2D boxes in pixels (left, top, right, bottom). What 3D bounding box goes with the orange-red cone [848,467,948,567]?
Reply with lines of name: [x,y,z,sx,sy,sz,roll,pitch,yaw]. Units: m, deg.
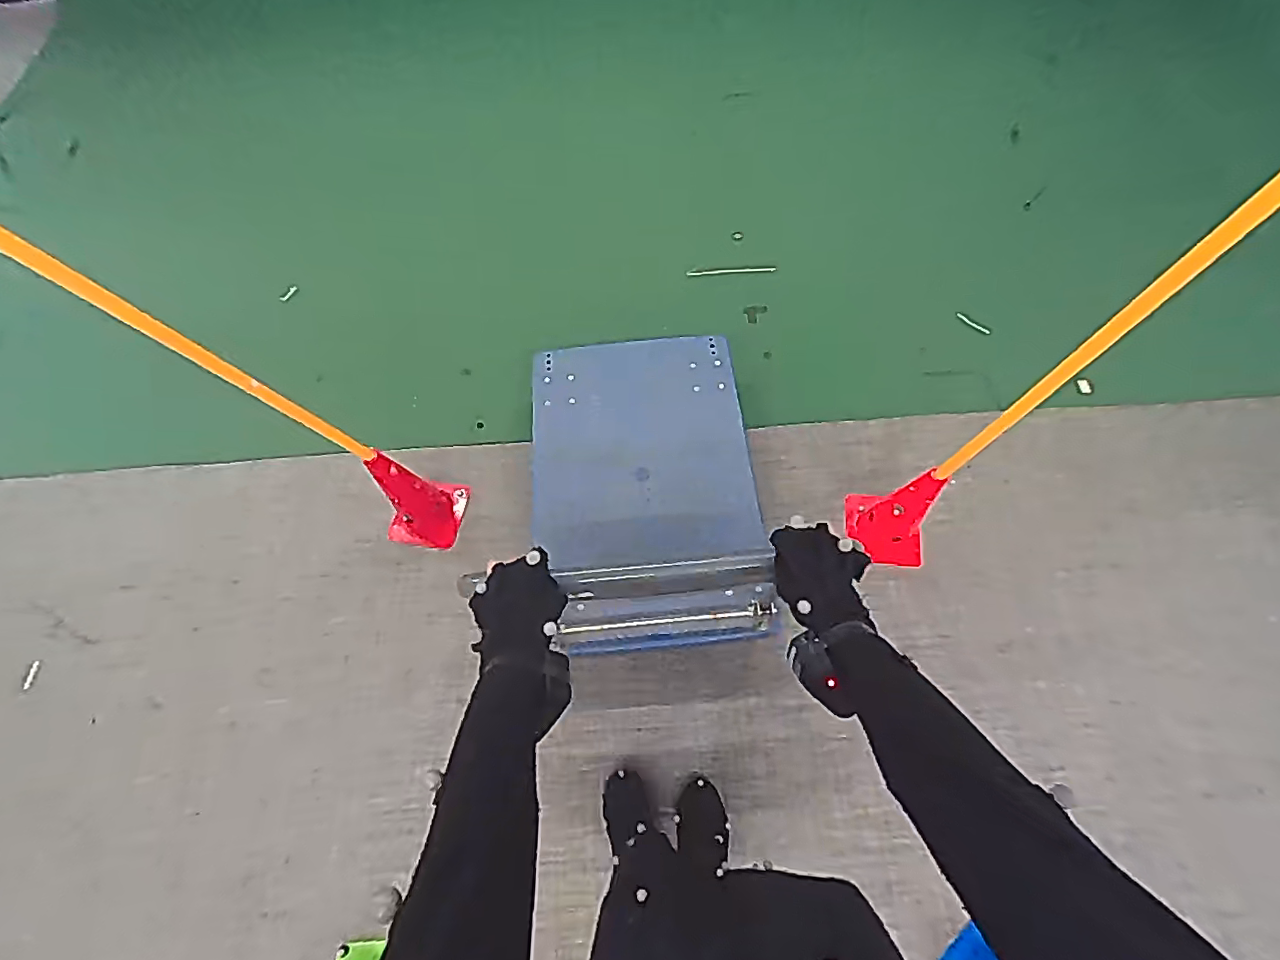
orange-red cone: [0.664,0.064,1.335,0.198,0.360,0.199,6,66,7]
